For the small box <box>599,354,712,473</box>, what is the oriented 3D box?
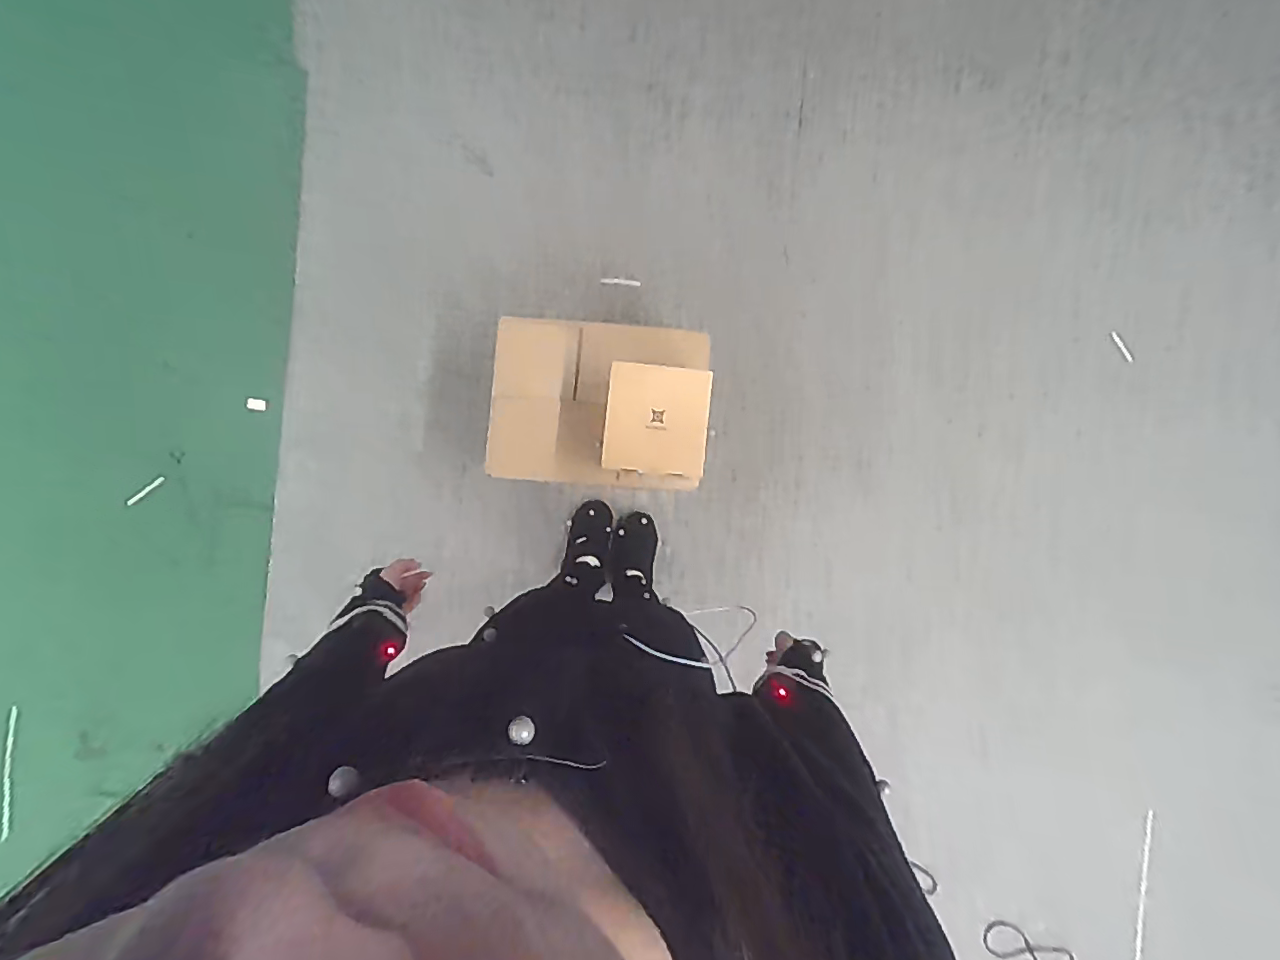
[{"bbox_3d":[0.023,-0.109,0.947,0.168,0.176,0.179,7,92,-1],"label":"small box"}]
